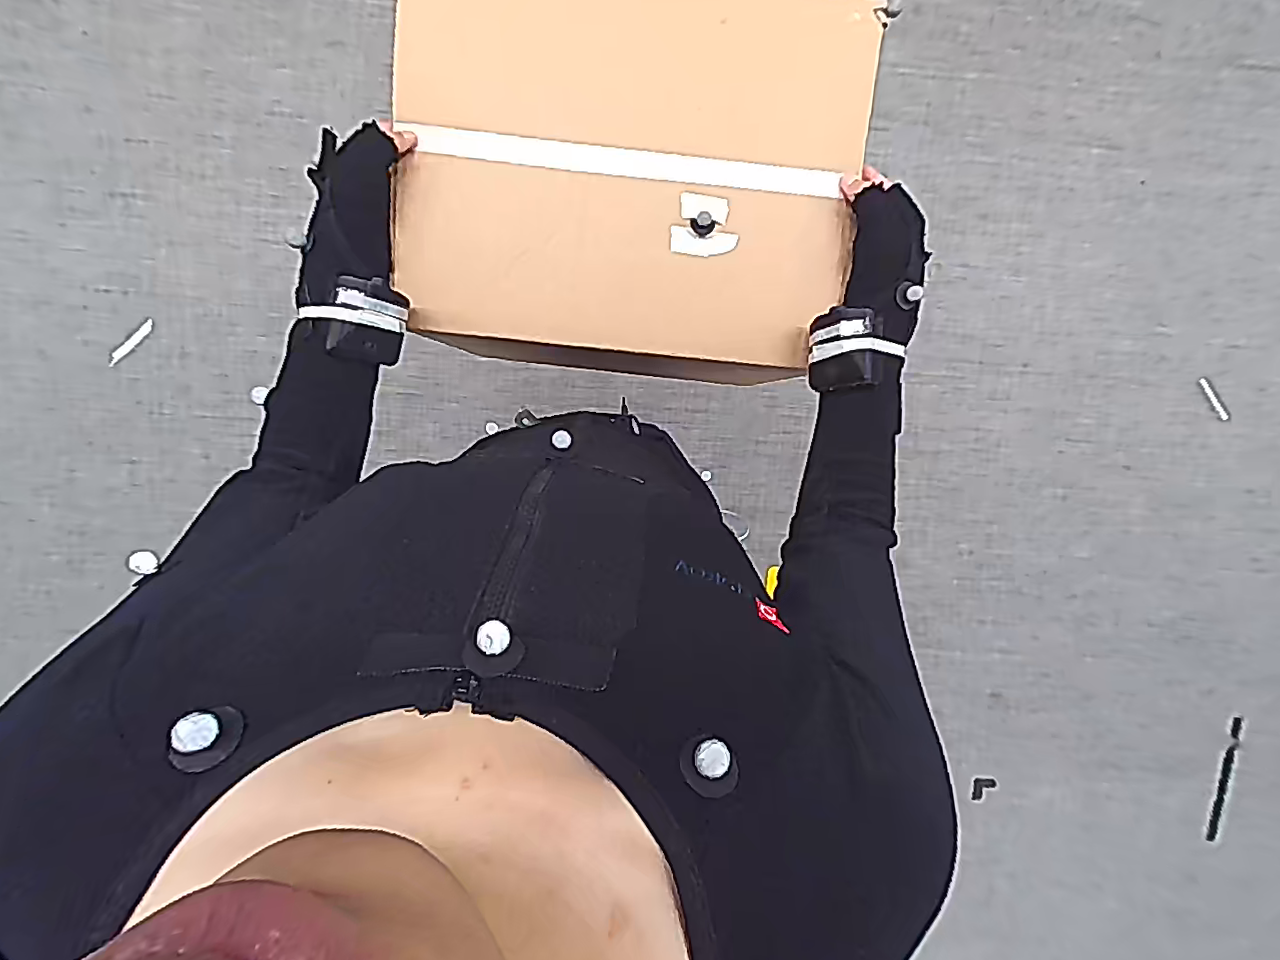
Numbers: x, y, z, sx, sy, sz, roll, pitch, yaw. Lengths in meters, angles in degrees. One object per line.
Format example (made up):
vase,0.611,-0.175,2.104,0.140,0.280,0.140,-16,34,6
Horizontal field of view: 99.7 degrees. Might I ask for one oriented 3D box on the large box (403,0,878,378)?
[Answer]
large box,-0.011,-0.296,0.620,0.408,0.320,0.320,5,98,-3
